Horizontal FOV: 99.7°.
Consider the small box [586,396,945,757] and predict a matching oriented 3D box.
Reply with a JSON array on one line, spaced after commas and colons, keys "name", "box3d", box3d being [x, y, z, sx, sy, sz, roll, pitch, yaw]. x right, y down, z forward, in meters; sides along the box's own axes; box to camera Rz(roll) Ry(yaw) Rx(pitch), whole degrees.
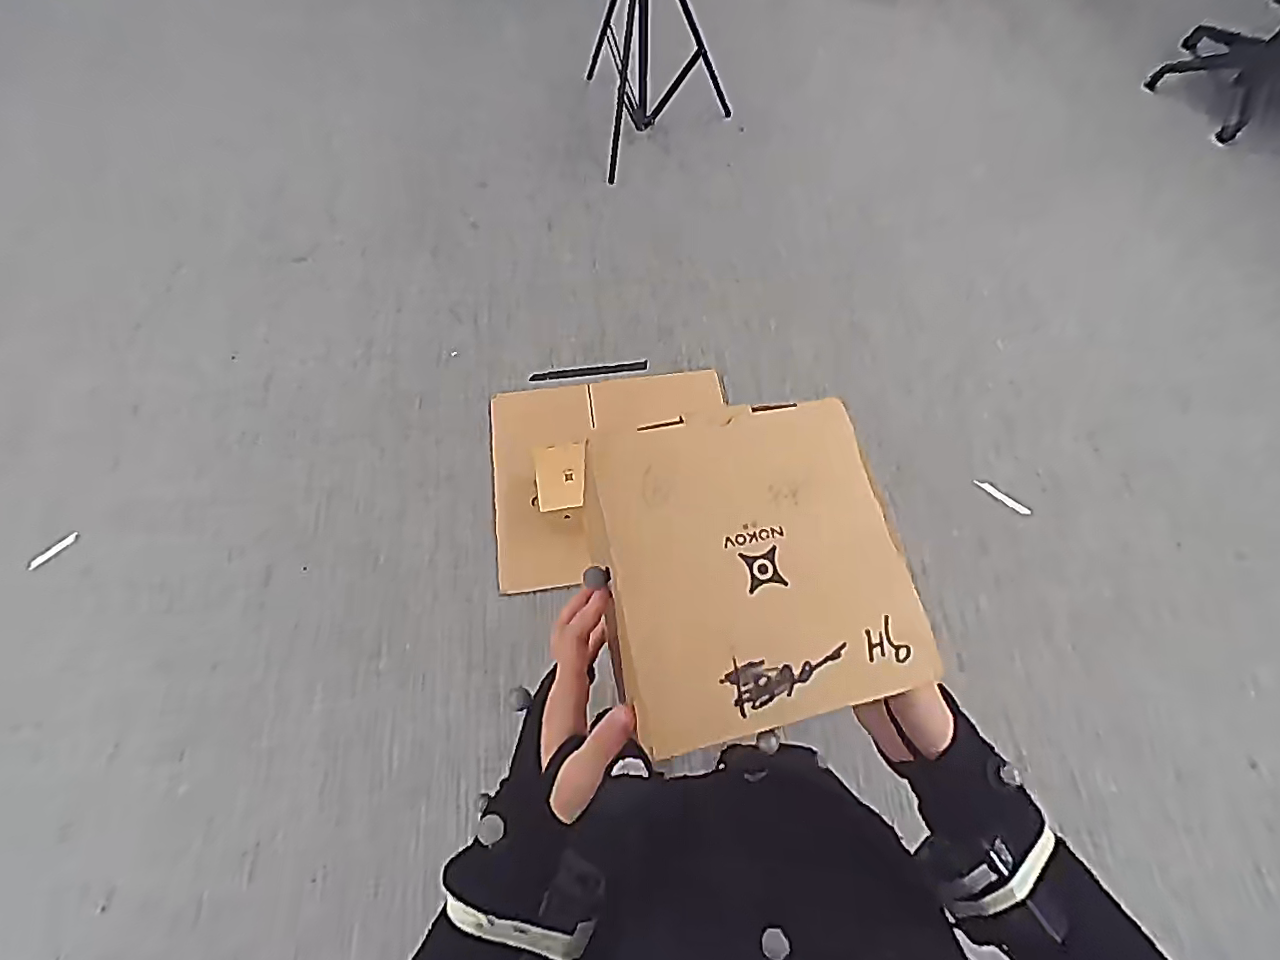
[{"name": "small box", "box3d": [0.057, 0.068, 0.373, 0.168, 0.176, 0.179, -11, 72, -9]}]

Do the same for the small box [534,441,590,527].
[{"name": "small box", "box3d": [-0.177, 0.018, 1.430, 0.168, 0.176, 0.179, -9, 68, -4]}]
